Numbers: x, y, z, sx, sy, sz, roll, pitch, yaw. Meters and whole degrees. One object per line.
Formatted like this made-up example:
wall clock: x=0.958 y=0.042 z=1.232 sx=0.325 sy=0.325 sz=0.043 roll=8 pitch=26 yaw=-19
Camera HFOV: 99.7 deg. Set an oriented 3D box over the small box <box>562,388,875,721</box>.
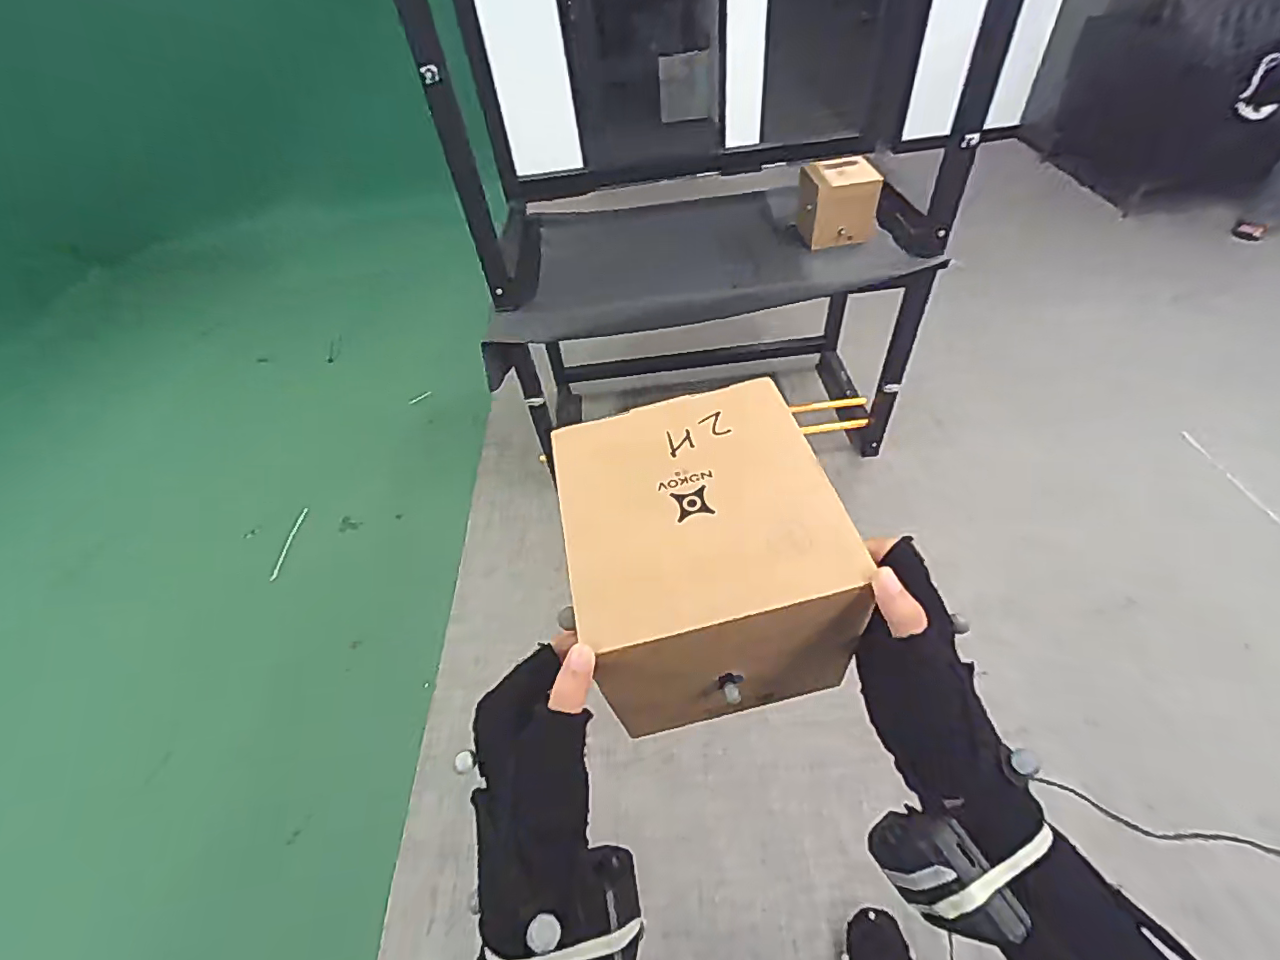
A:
small box: x=0.048 y=0.064 z=0.408 sx=0.168 sy=0.176 sz=0.179 roll=-14 pitch=50 yaw=-1
